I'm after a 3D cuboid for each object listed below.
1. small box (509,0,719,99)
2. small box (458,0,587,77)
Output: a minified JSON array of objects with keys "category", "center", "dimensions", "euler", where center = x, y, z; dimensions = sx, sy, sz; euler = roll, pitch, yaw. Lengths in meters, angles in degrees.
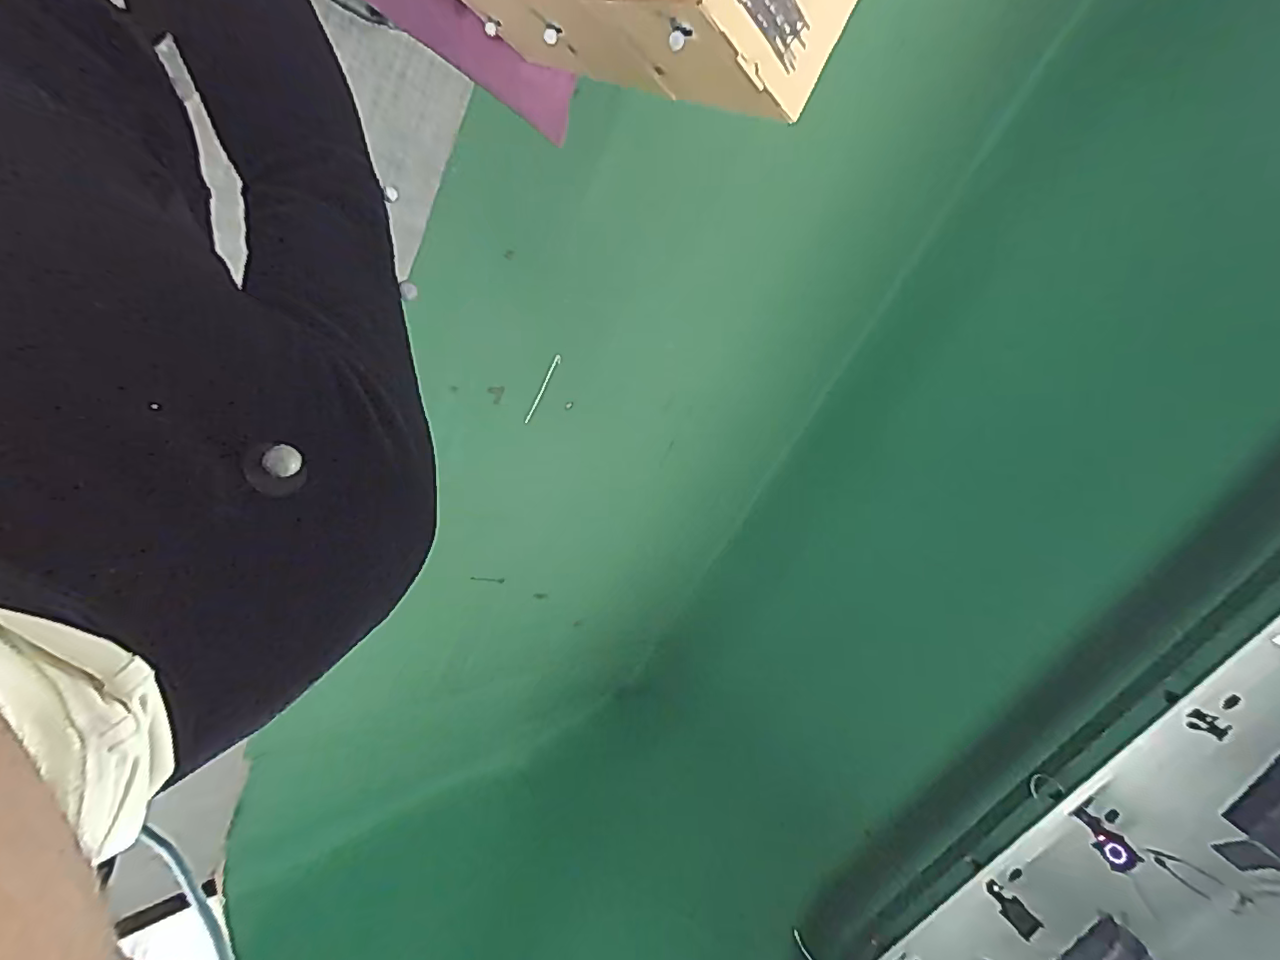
[{"category":"small box","center":[-0.024,-0.560,0.578],"dimensions":[0.168,0.176,0.179],"euler":[9,117,-52]},{"category":"small box","center":[-0.133,-0.648,0.664],"dimensions":[0.179,0.176,0.168],"euler":[8,117,-53]}]
